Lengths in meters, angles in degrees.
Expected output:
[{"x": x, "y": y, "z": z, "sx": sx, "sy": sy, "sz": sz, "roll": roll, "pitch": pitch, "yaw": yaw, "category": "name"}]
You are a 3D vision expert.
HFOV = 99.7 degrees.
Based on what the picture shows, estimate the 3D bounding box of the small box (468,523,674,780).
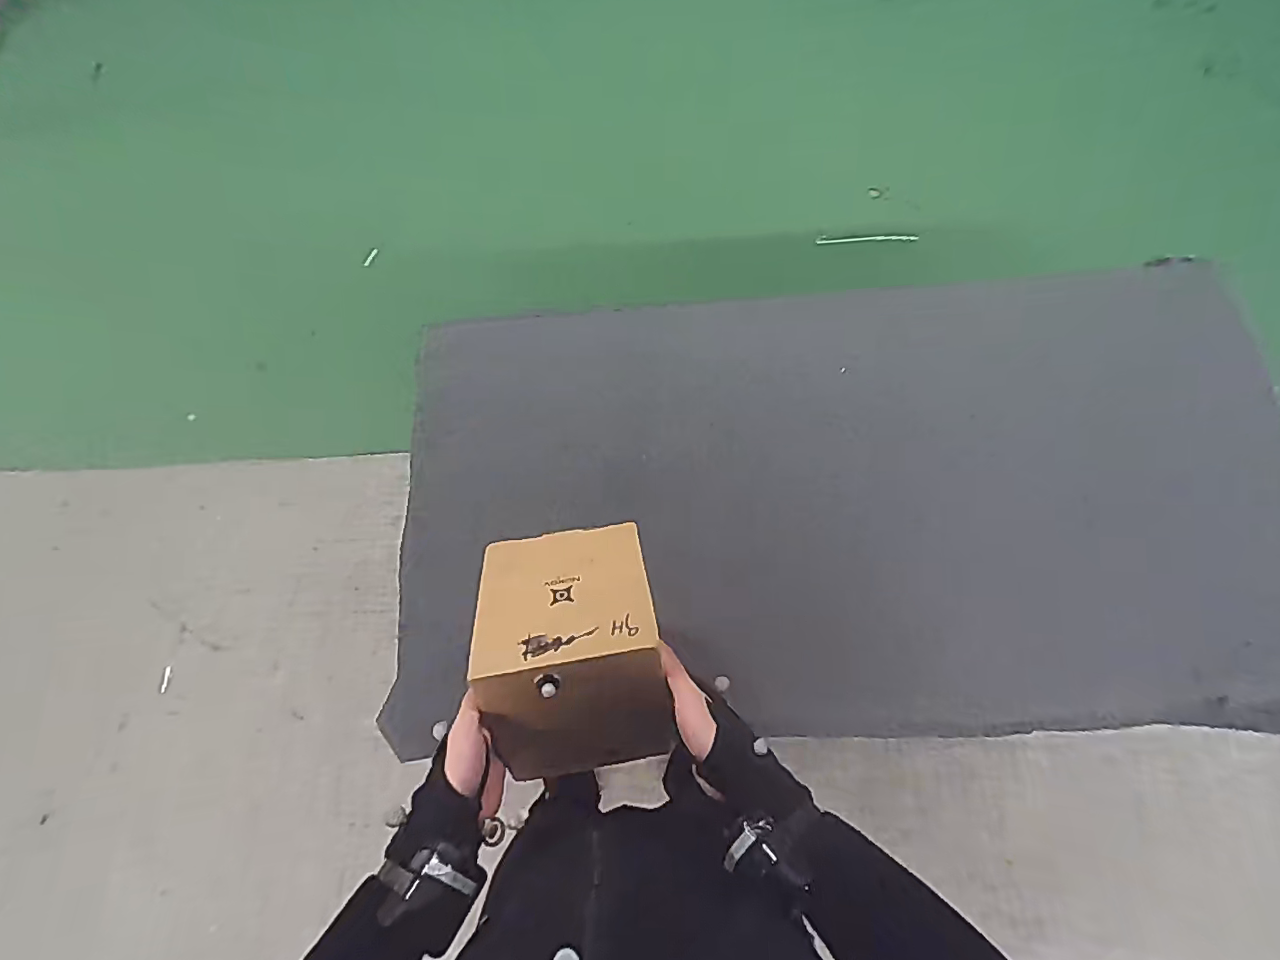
[{"x": -0.064, "y": 0.173, "z": 0.563, "sx": 0.168, "sy": 0.176, "sz": 0.179, "roll": -10, "pitch": 33, "yaw": -2, "category": "small box"}]
